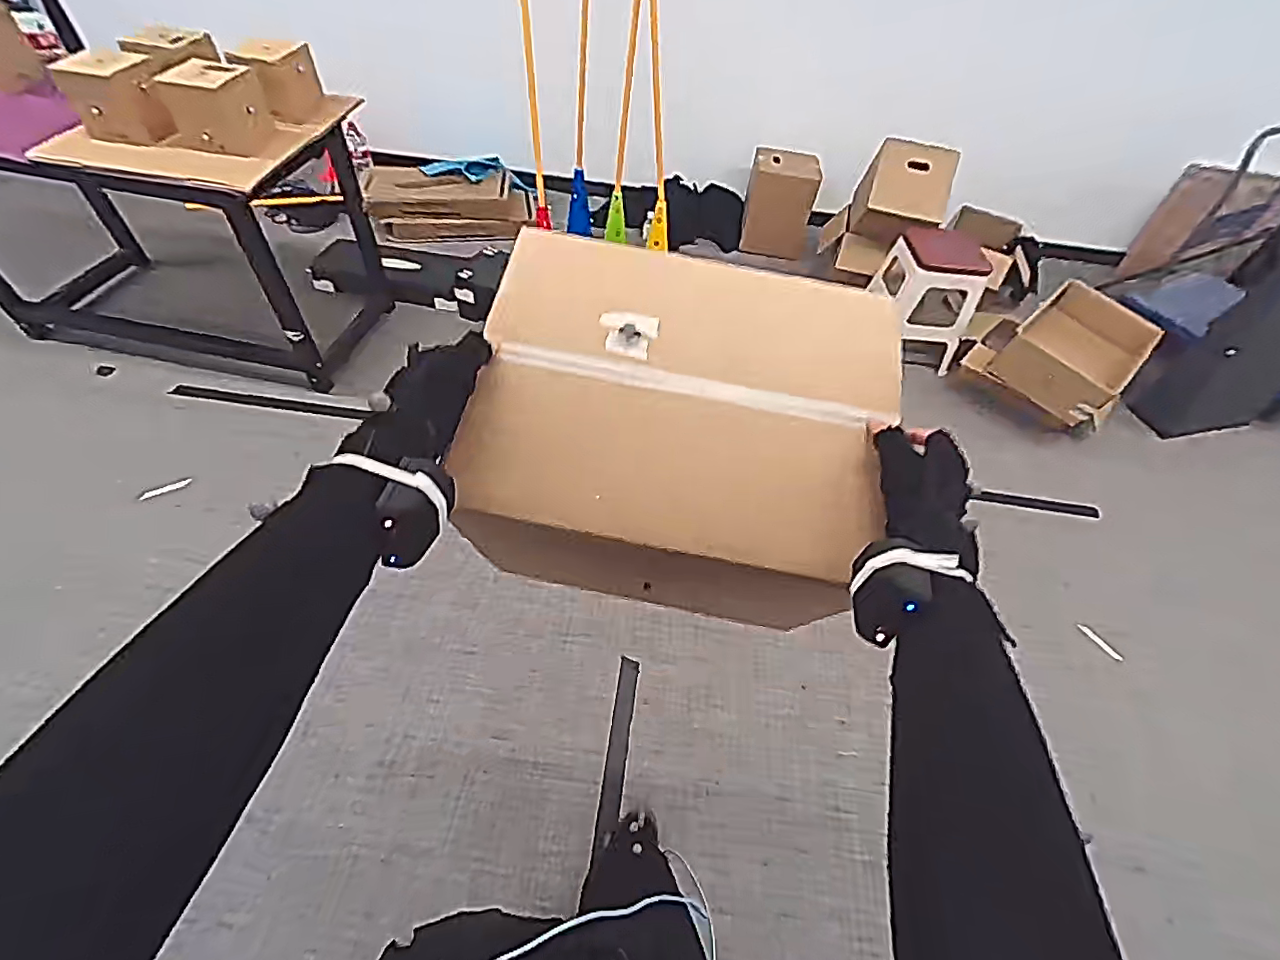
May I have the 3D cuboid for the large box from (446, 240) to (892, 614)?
[{"bbox_3d":[0.043,-0.035,0.667,0.408,0.320,0.320,11,69,2],"label":"large box"}]
